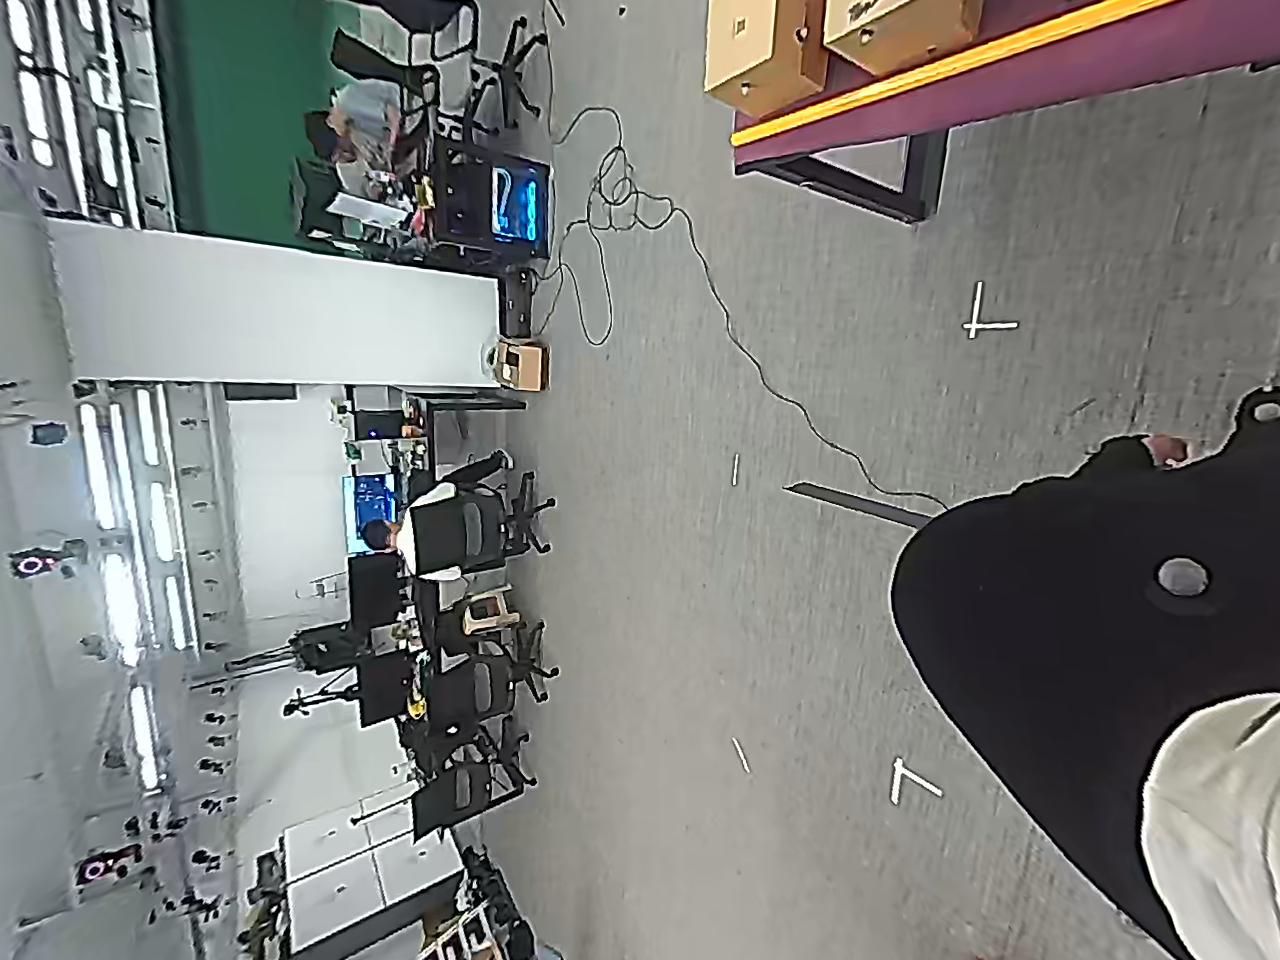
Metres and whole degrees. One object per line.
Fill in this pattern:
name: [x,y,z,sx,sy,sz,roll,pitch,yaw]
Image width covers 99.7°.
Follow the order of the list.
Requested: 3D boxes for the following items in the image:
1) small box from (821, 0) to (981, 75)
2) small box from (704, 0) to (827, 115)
small box: [0.408,-0.771,0.827,0.168,0.176,0.179,22,112,53]
small box: [0.248,-0.844,1.045,0.179,0.176,0.168,20,111,52]
